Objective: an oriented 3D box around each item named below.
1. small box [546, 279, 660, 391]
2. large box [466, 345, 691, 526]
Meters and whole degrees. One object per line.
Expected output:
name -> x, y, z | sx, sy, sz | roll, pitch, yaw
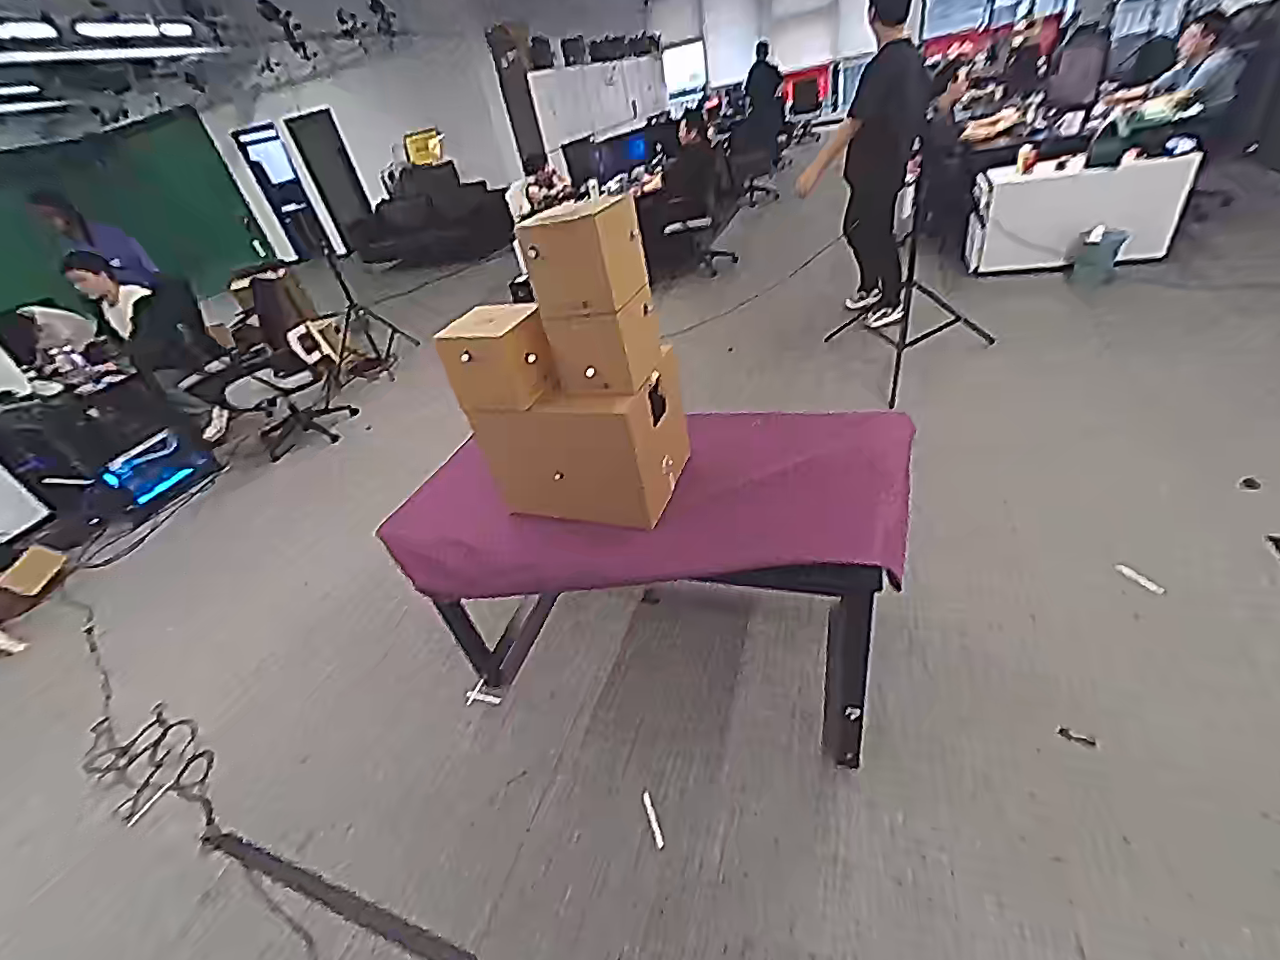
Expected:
small box -> -0.066, -0.298, 1.120 | 0.168, 0.176, 0.179 | 3, 38, 24
large box -> -0.123, -0.111, 1.306 | 0.408, 0.320, 0.320 | 3, 37, 23
